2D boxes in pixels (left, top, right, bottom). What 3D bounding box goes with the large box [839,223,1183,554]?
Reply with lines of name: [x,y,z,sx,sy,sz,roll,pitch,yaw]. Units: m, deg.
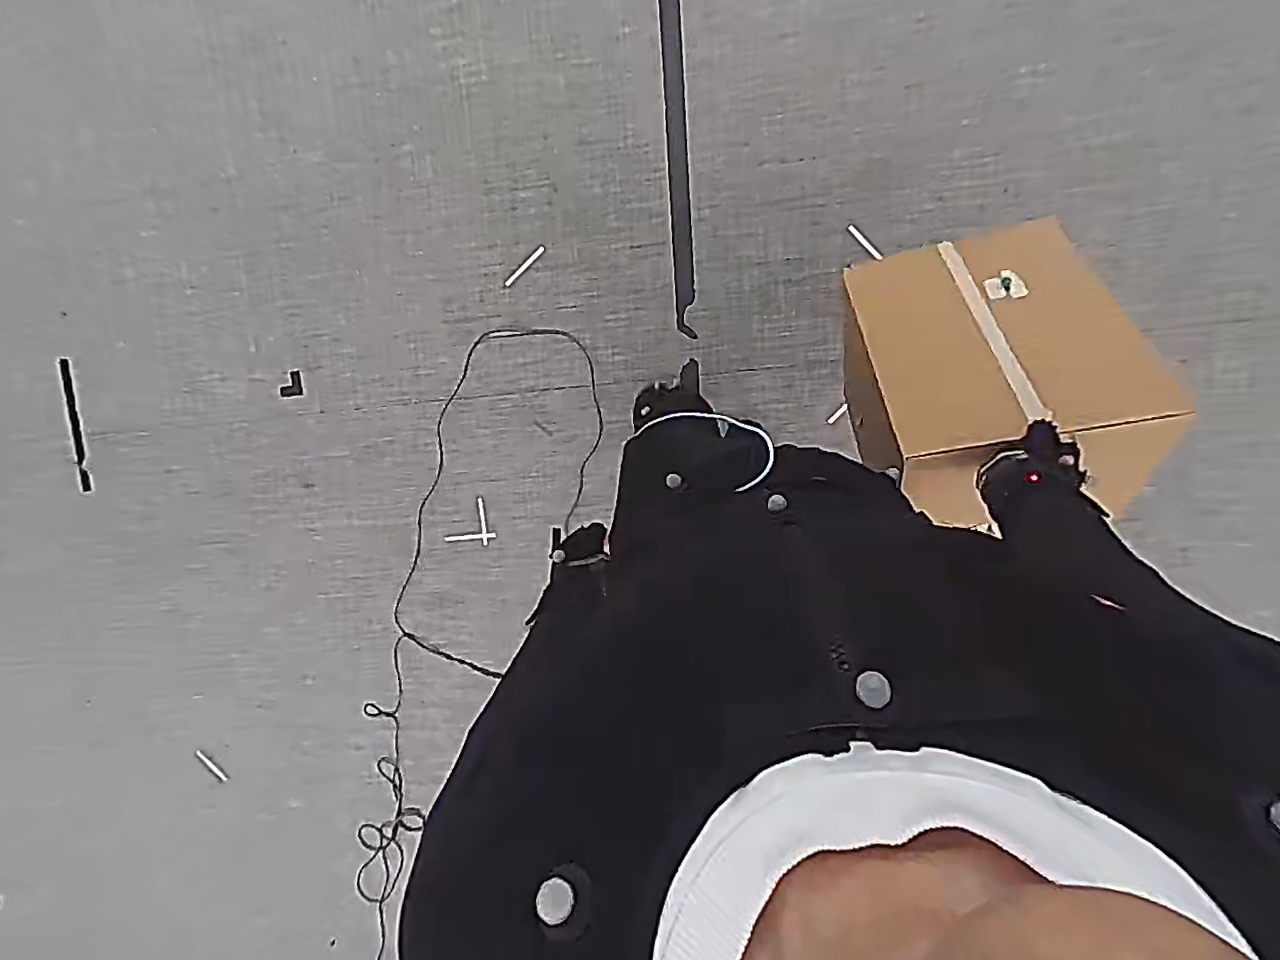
large box: [0.535,-0.137,0.894,0.320,0.320,0.408,-10,54,13]
